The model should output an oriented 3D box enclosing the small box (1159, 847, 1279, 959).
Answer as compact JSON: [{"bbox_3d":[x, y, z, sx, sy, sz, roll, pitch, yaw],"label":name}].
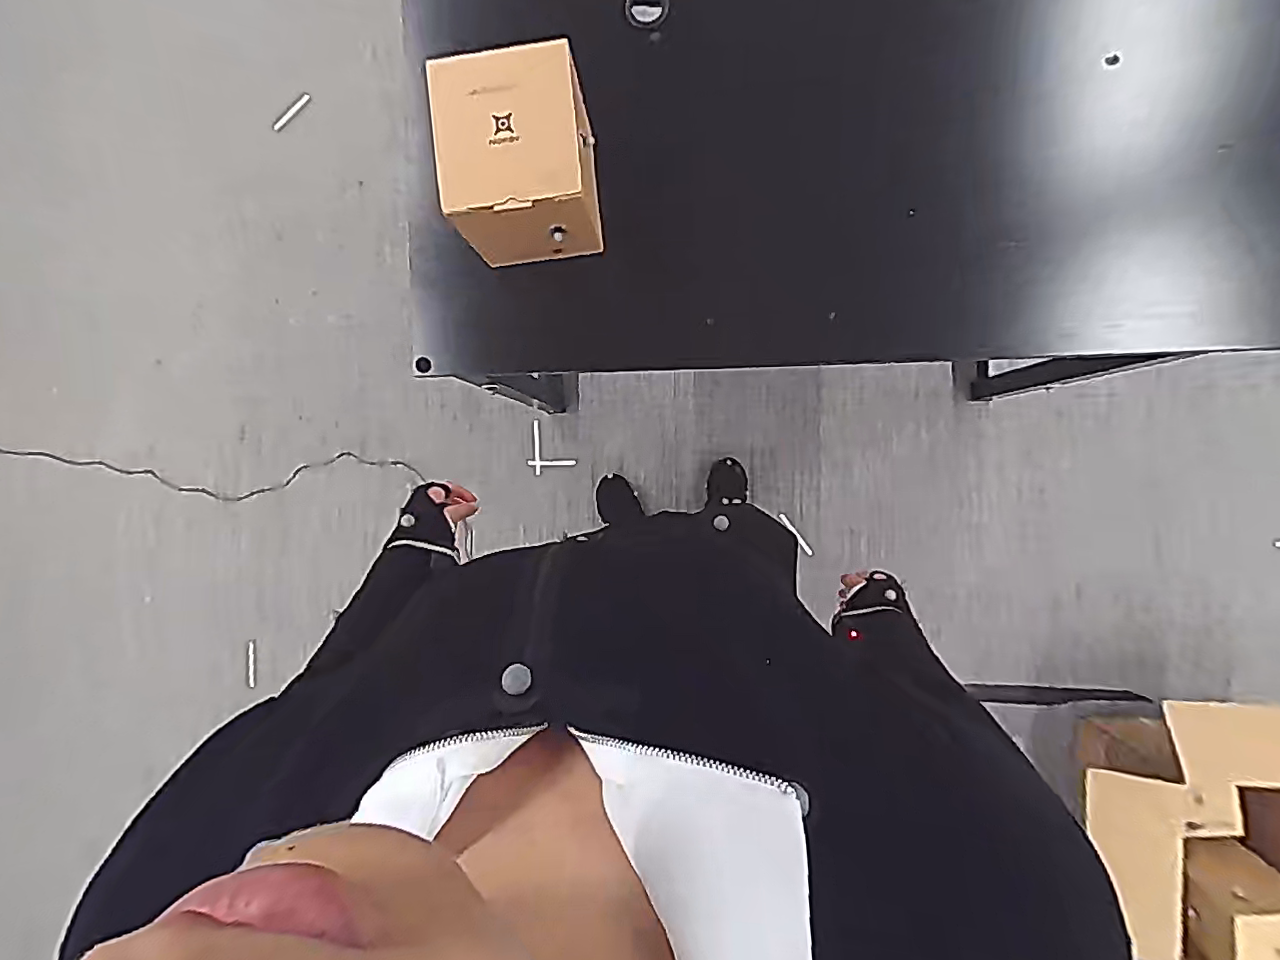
[{"bbox_3d":[1.271,0.926,1.161,0.179,0.176,0.168,-6,95,5],"label":"small box"}]

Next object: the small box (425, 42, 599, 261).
[{"bbox_3d":[-0.150,-0.396,0.688,0.168,0.176,0.179,-6,90,3],"label":"small box"}]
